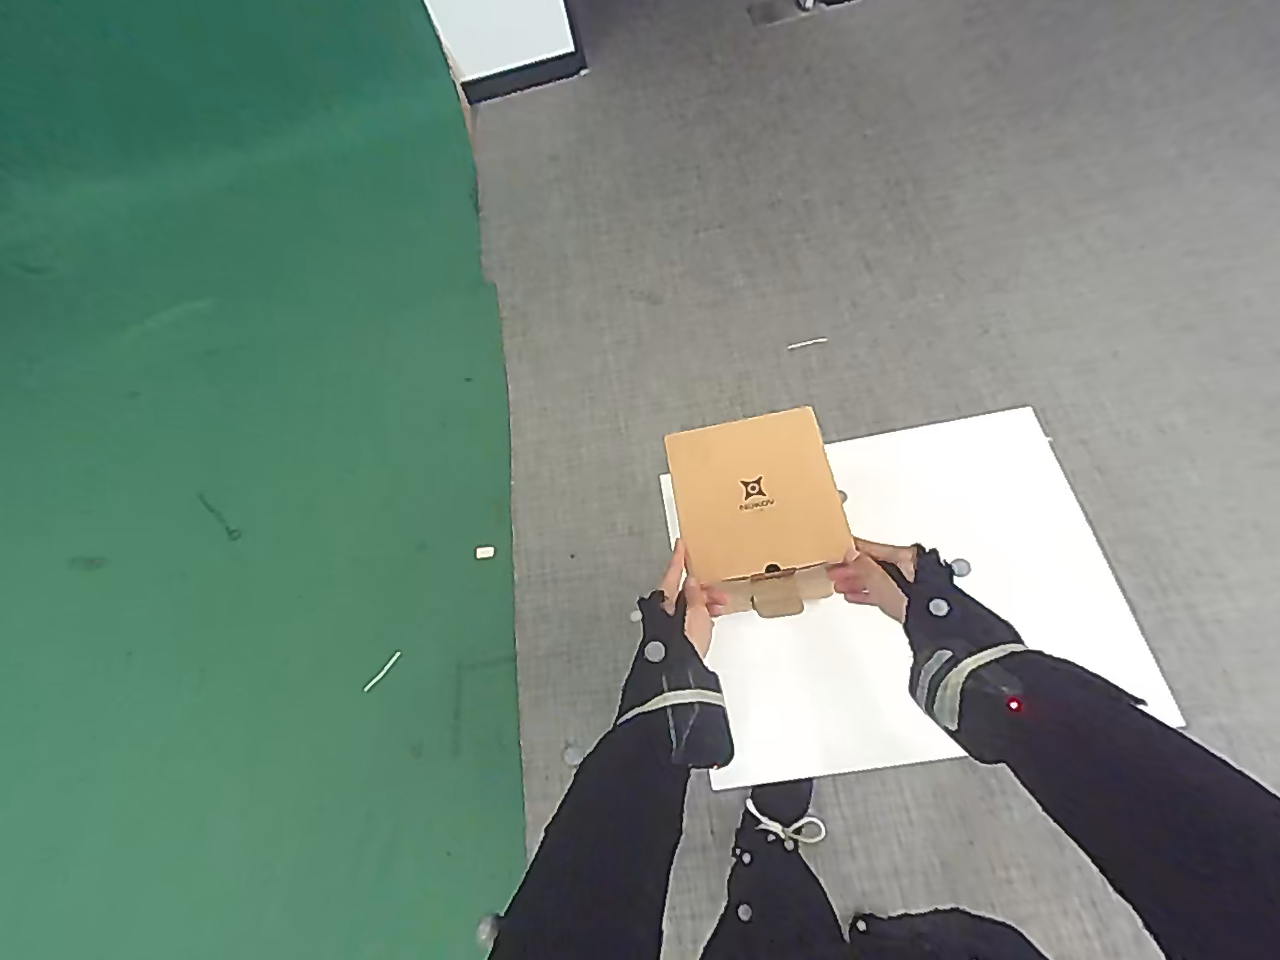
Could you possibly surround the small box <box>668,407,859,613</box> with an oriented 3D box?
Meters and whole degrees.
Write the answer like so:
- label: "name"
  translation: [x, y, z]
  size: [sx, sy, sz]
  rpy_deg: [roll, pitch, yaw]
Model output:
- label: "small box"
  translation: [0.131, 0.044, 0.629]
  size: [0.168, 0.176, 0.179]
  rpy_deg: [-11, 66, 5]
